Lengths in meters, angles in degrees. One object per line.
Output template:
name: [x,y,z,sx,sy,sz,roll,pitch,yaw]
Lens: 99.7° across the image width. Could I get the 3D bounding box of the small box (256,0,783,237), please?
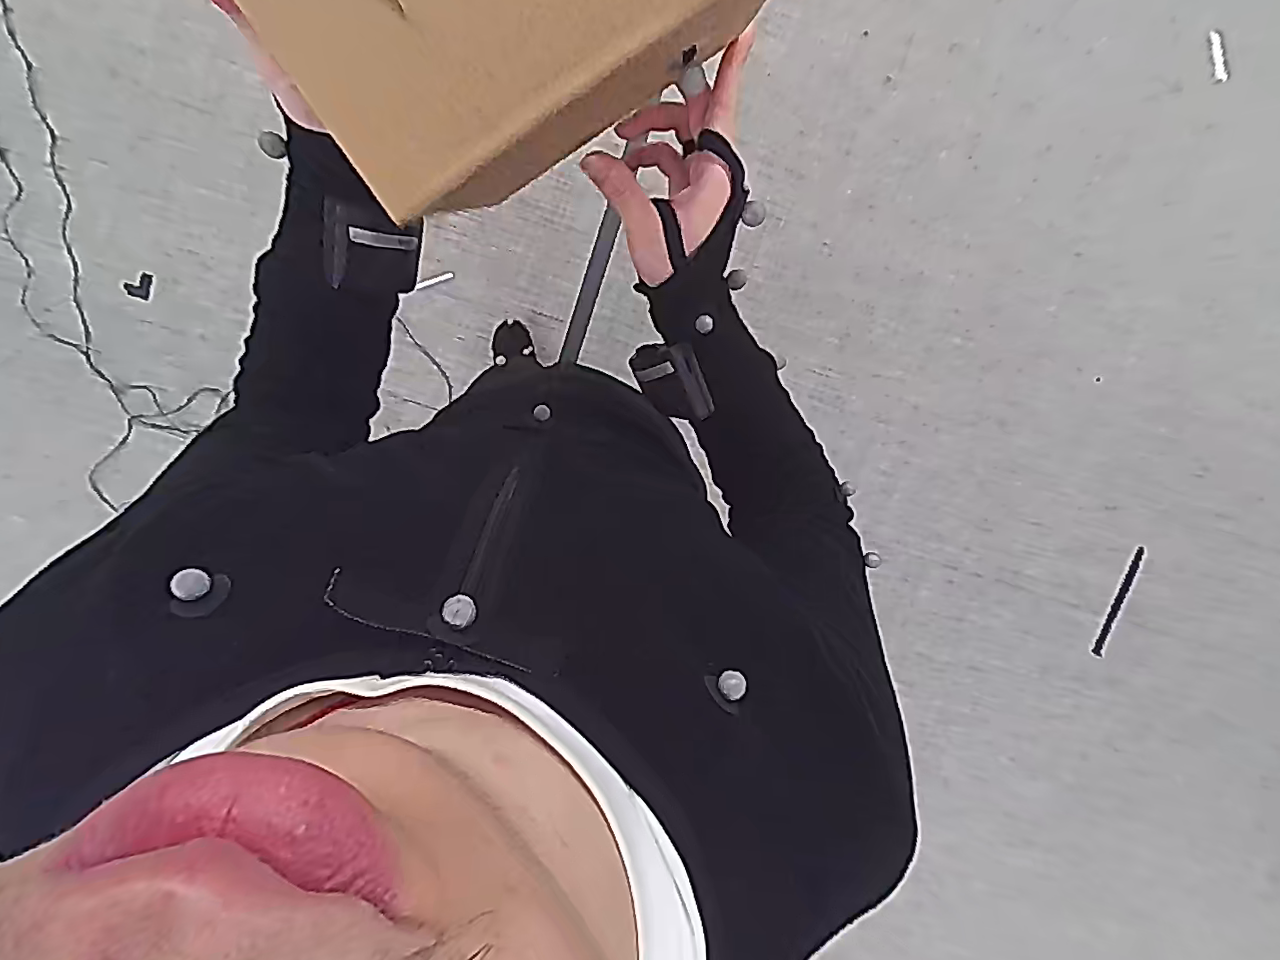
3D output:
small box: [-0.055,-0.238,0.237,0.179,0.176,0.168,-27,117,15]
